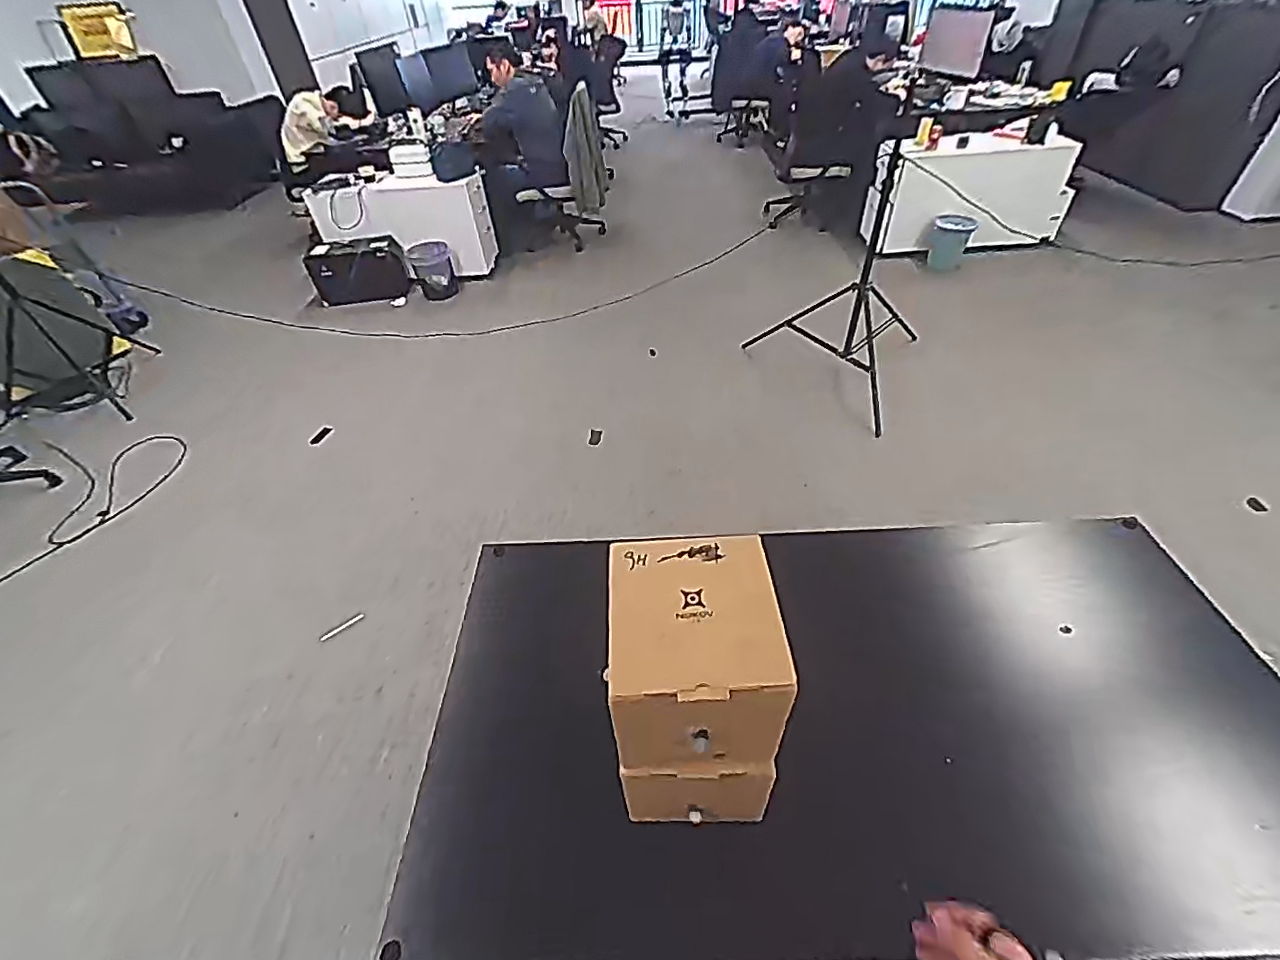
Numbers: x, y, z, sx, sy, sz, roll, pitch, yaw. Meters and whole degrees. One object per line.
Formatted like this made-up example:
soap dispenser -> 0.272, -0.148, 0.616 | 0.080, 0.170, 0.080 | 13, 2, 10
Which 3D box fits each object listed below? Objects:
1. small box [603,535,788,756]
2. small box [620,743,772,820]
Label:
small box -> 0.053, 0.183, 0.584 | 0.168, 0.176, 0.179 | -4, 44, 1
small box -> 0.066, 0.308, 0.690 | 0.168, 0.176, 0.179 | -2, 44, 4
